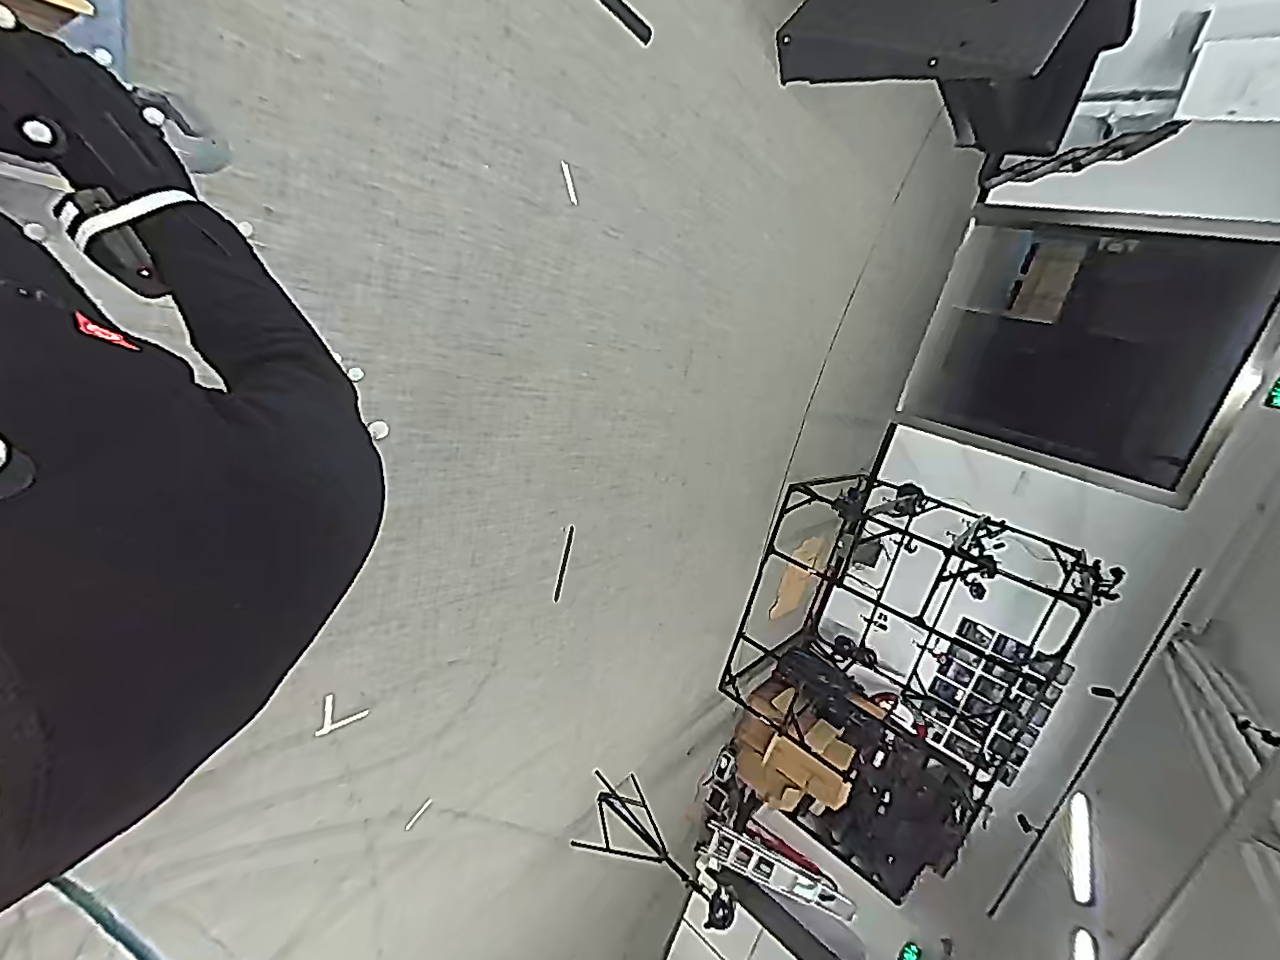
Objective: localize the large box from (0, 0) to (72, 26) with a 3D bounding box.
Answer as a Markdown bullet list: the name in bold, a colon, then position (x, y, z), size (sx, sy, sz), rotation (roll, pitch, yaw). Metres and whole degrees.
- **large box**: position (-0.860, -0.714, 0.502), size (0.408, 0.320, 0.320), rotation (-13, 122, -52)
